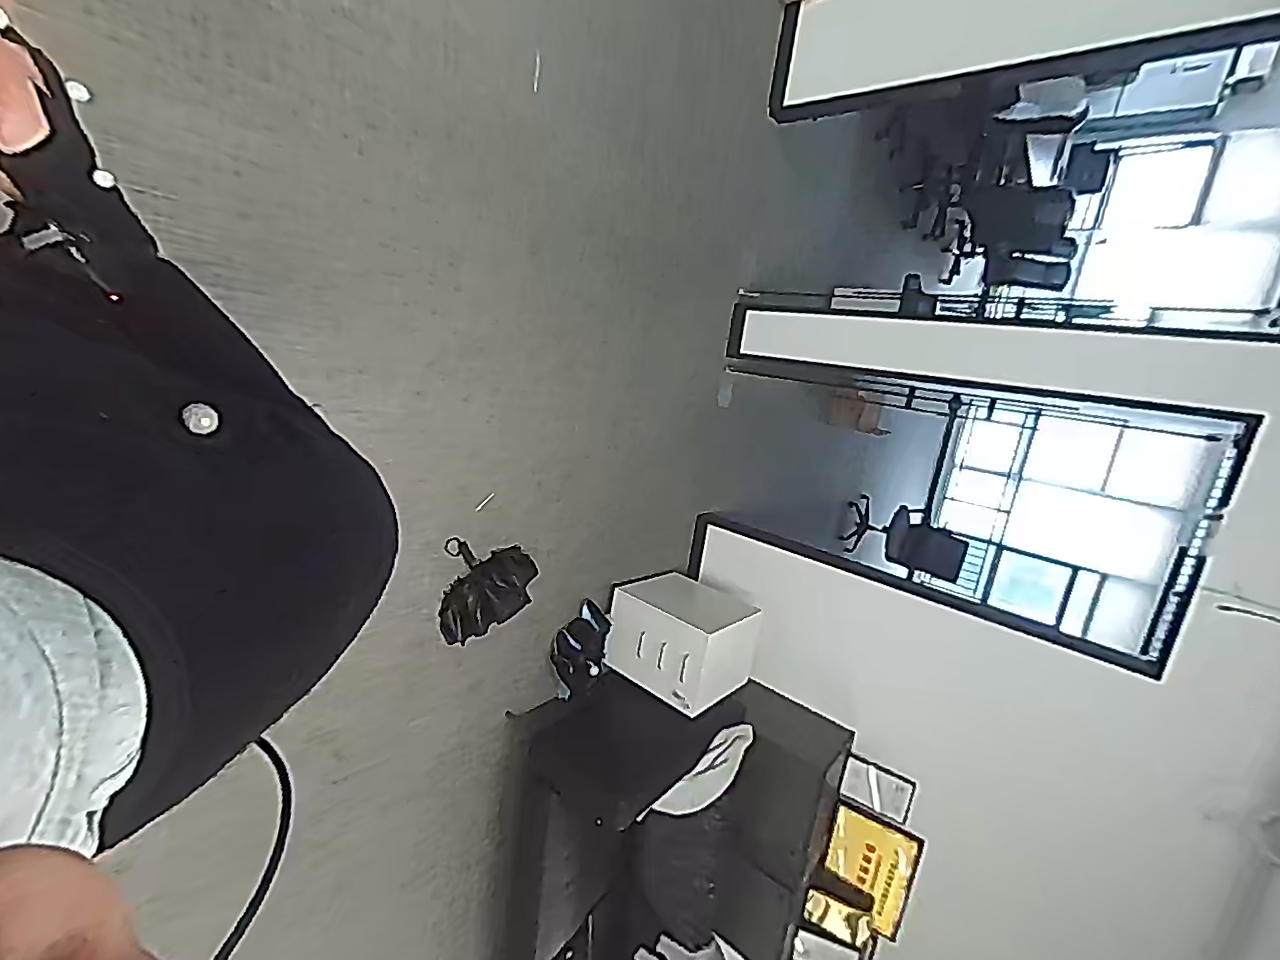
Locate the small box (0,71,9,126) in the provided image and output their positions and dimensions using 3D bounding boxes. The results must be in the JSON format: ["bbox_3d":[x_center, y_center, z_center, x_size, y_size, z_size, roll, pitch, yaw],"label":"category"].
[{"bbox_3d":[-0.477,-0.296,0.271,0.179,0.176,0.168,-5,113,-40],"label":"small box"}]
